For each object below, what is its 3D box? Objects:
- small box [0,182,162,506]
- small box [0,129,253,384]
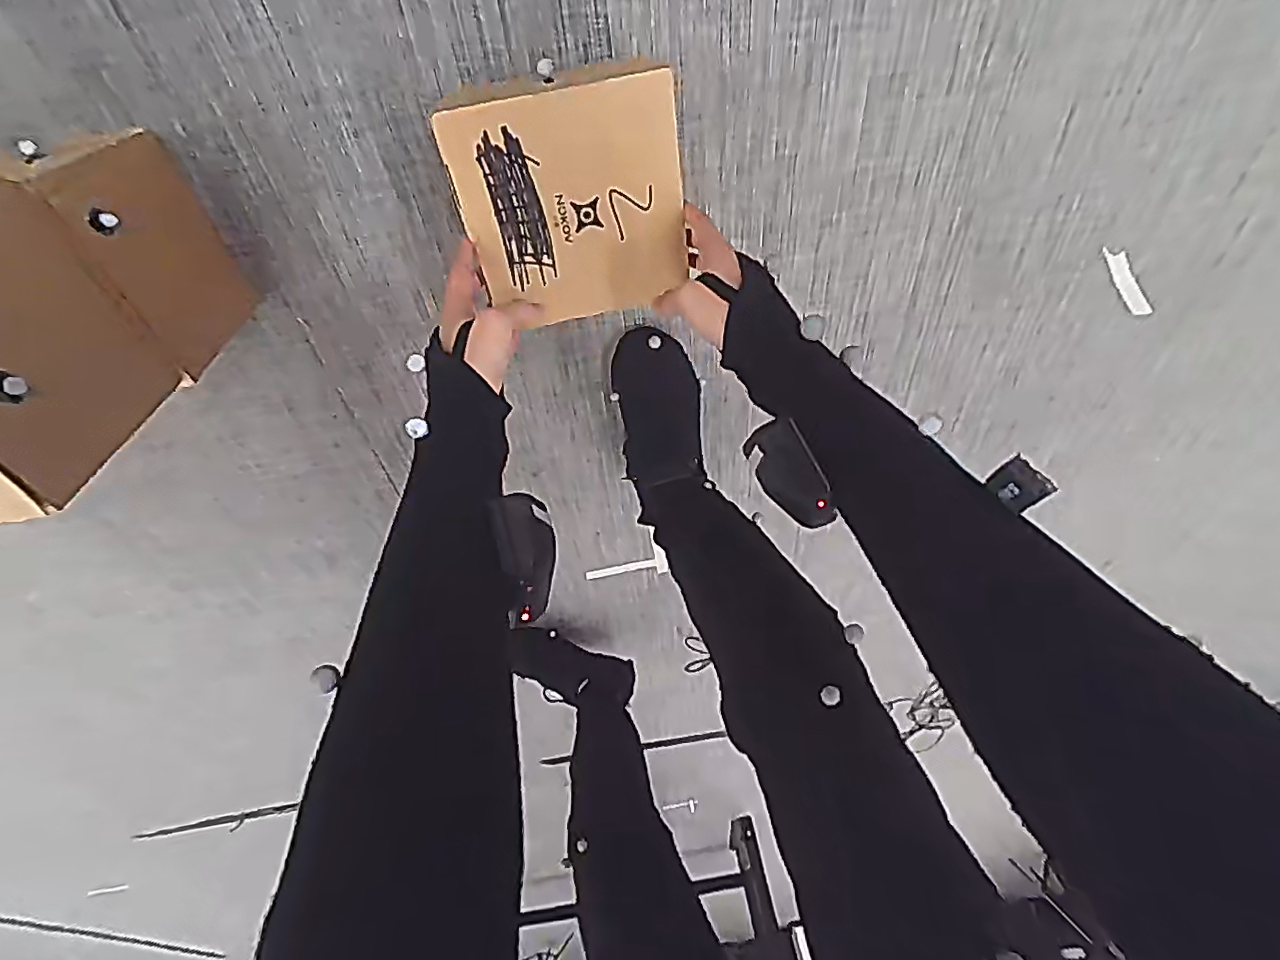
[{"bbox_3d":[-0.501,-0.090,0.373,0.168,0.176,0.179,-11,131,0],"label":"small box"},{"bbox_3d":[-0.511,-0.196,0.498,0.168,0.176,0.179,-11,132,0],"label":"small box"}]
